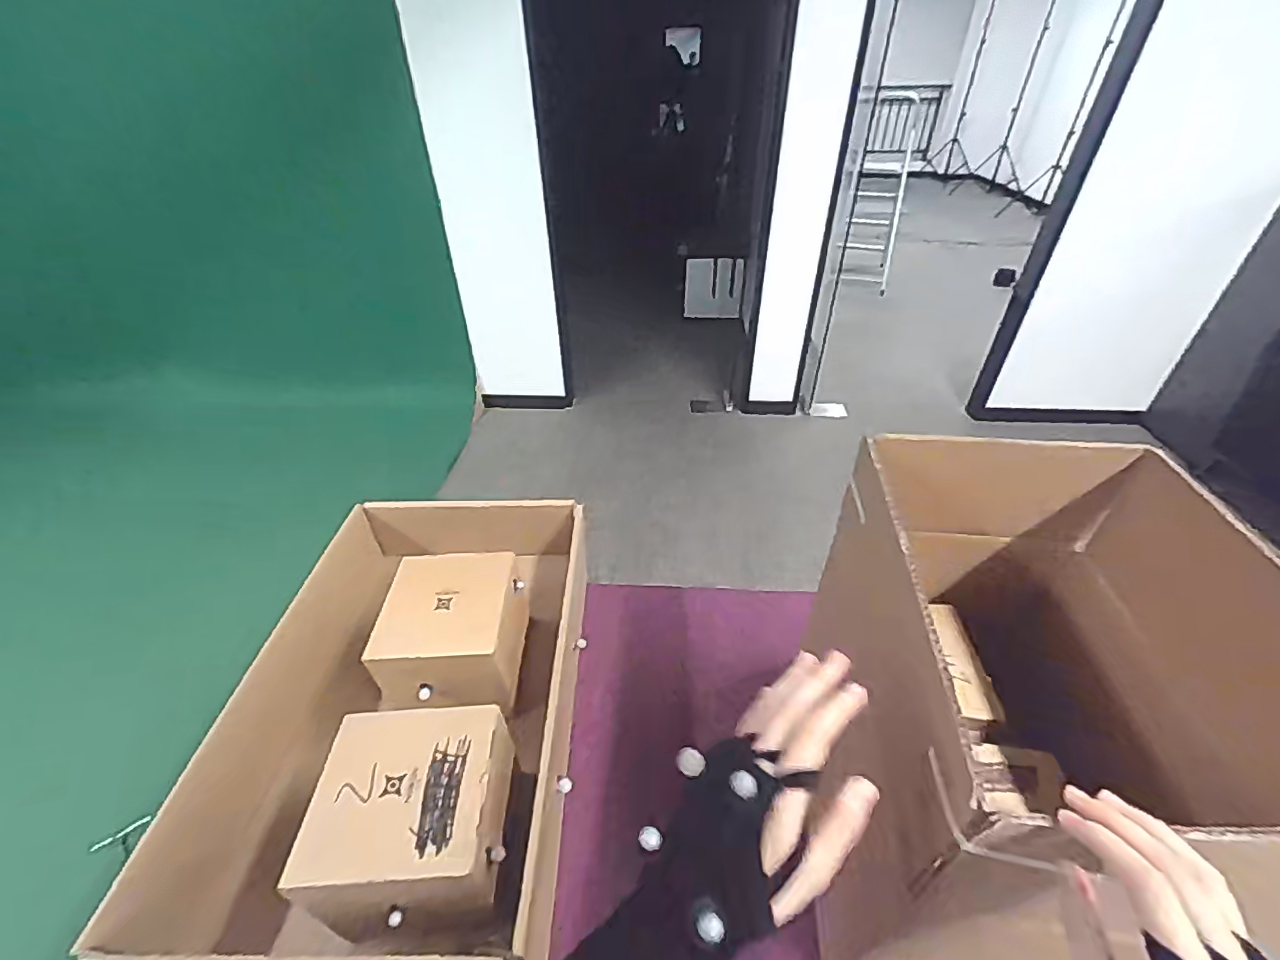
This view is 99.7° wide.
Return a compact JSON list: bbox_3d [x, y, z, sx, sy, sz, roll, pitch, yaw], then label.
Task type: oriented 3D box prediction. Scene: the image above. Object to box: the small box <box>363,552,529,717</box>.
[{"bbox_3d":[-0.264,0.228,0.787,0.168,0.176,0.179,-3,39,0],"label":"small box"}]
